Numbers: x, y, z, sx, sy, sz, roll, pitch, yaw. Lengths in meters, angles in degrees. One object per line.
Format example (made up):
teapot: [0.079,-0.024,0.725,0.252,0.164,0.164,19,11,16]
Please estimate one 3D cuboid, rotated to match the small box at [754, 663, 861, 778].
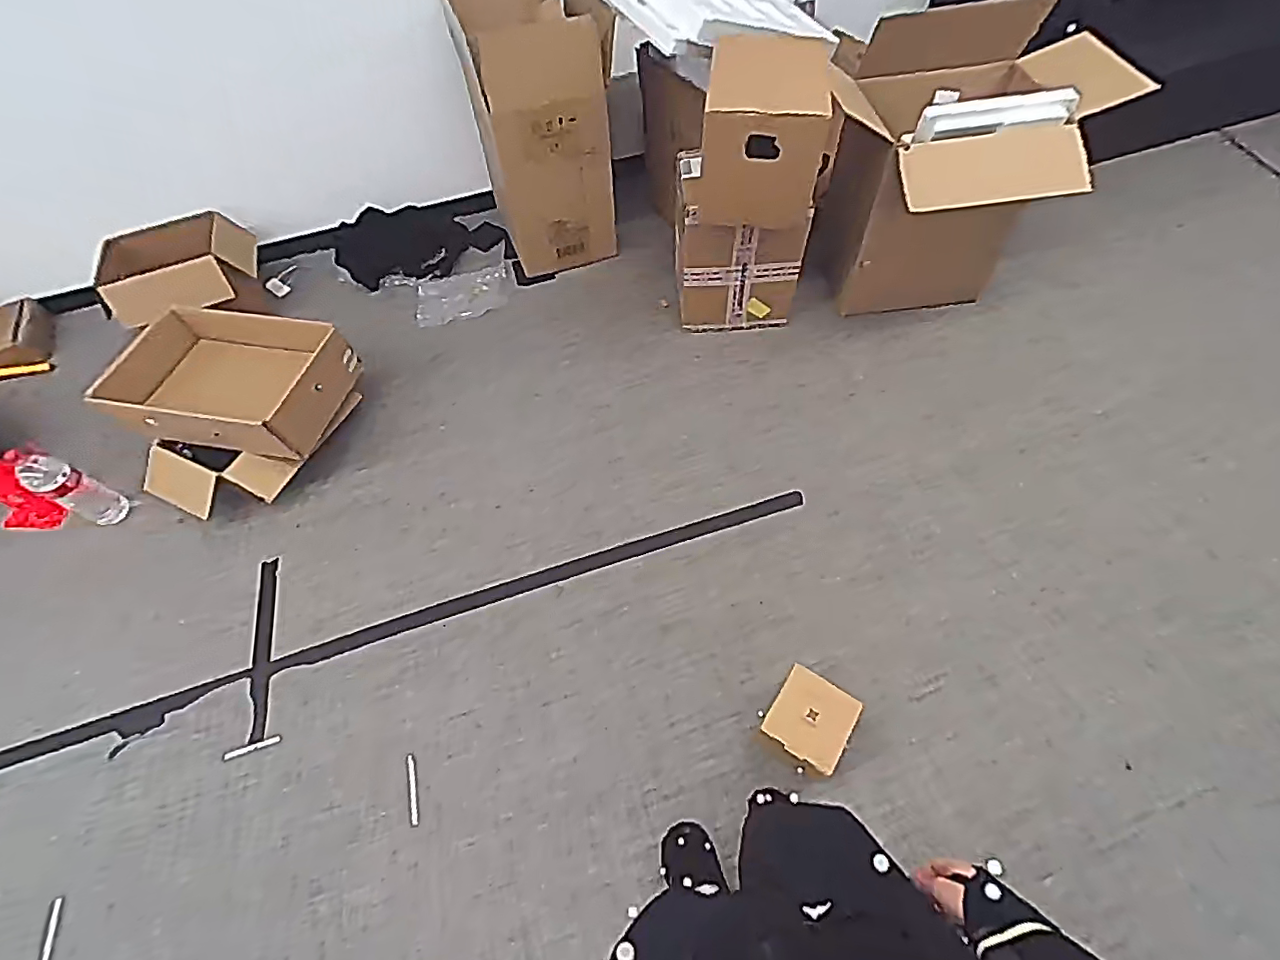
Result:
small box: [0.377,0.560,1.247,0.168,0.176,0.179,30,64,19]
